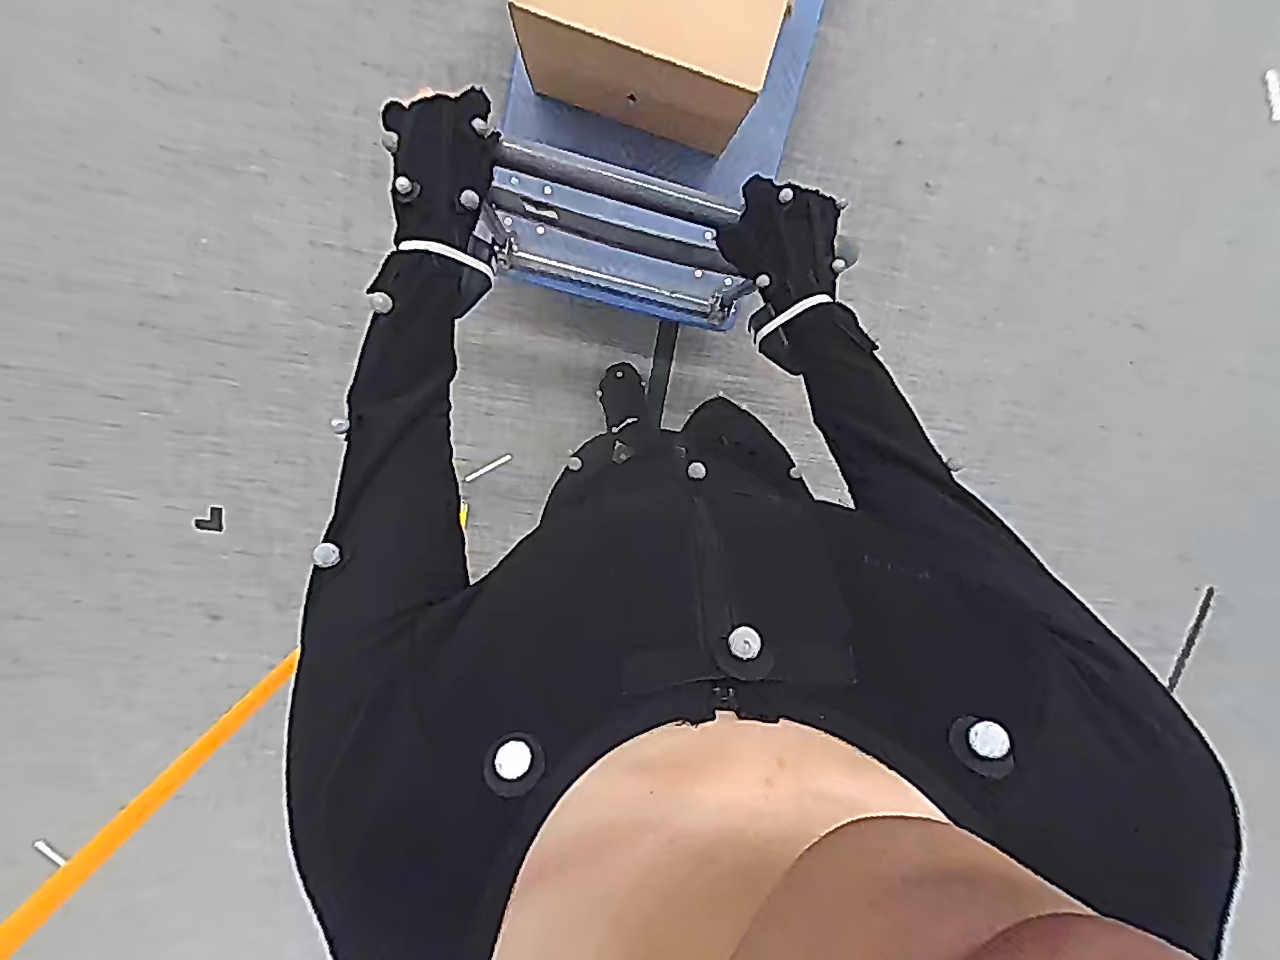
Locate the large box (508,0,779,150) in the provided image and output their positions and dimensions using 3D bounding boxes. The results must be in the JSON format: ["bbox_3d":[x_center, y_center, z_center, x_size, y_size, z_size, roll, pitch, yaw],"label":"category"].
[{"bbox_3d":[0.023,-0.841,0.946,0.408,0.320,0.320,14,103,-7],"label":"large box"}]
